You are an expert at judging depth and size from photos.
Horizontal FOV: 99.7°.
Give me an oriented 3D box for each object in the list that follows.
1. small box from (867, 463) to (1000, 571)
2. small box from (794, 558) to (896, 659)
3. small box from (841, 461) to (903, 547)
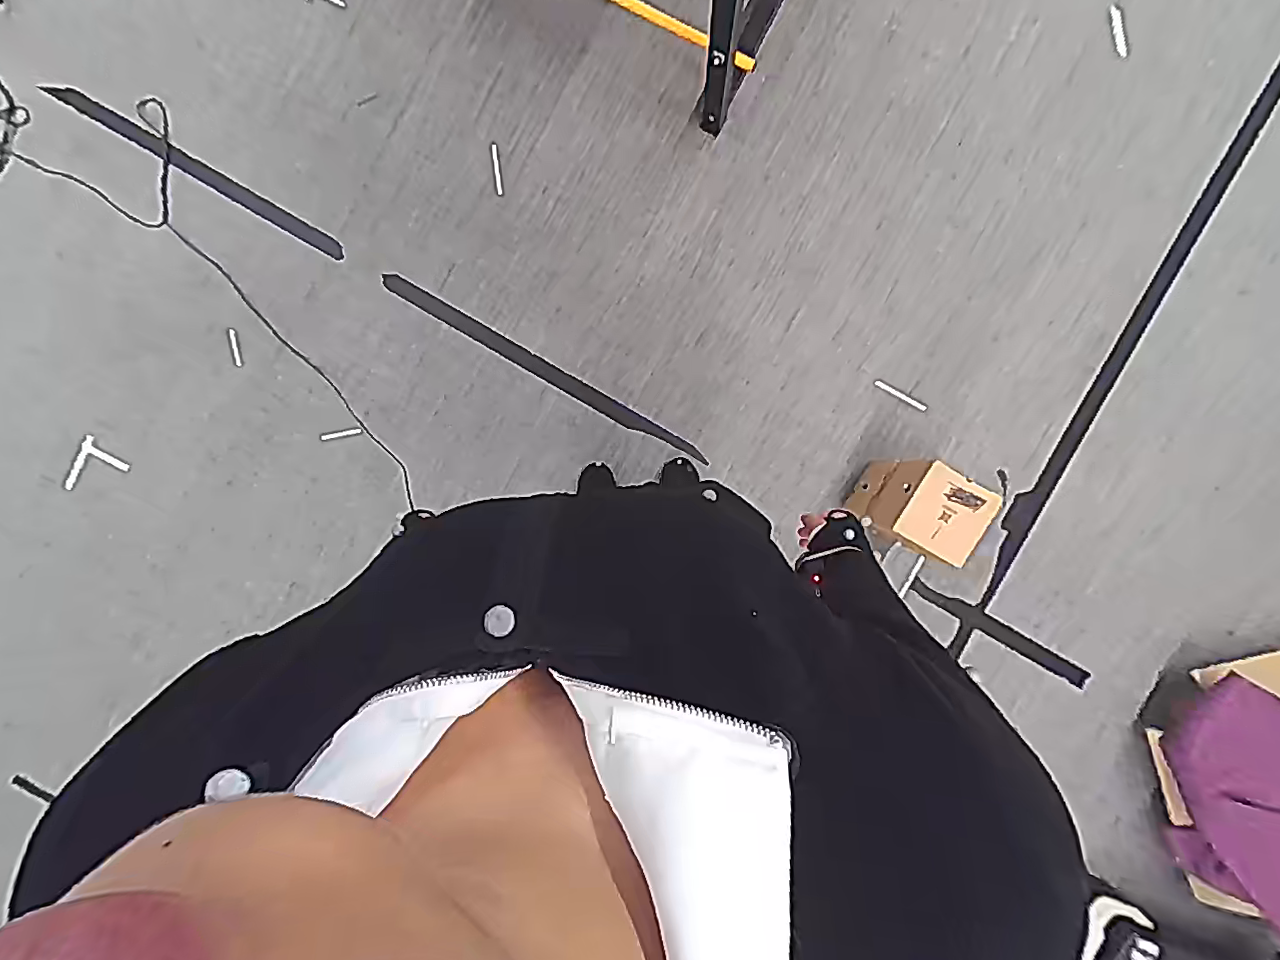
[{"bbox_3d":[0.642,0.075,1.209,0.168,0.176,0.179,31,93,2],"label":"small box"},{"bbox_3d":[0.513,0.321,1.387,0.168,0.176,0.179,28,92,2],"label":"small box"},{"bbox_3d":[0.645,0.067,1.375,0.179,0.176,0.168,31,92,3],"label":"small box"}]
